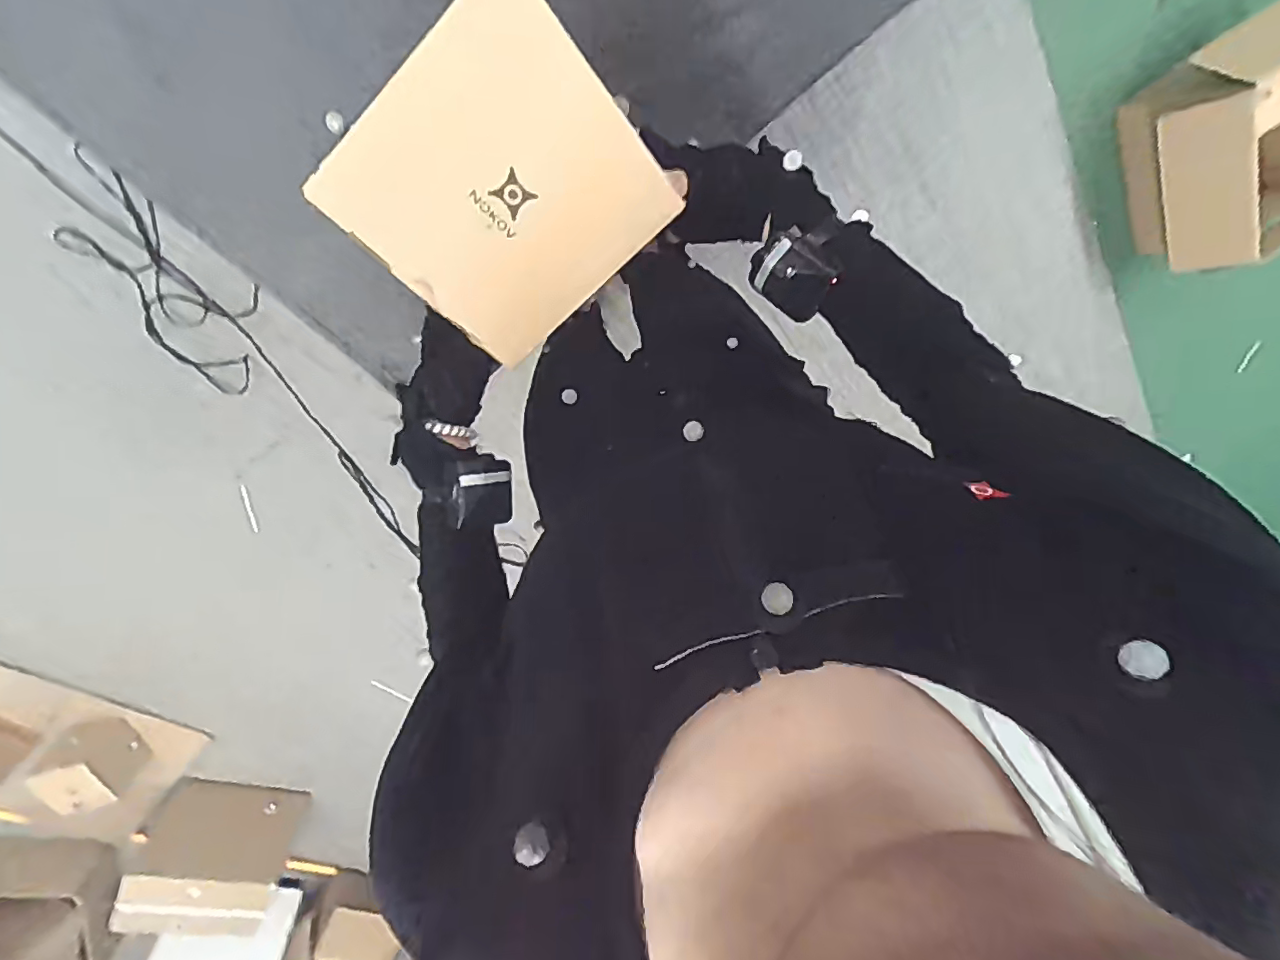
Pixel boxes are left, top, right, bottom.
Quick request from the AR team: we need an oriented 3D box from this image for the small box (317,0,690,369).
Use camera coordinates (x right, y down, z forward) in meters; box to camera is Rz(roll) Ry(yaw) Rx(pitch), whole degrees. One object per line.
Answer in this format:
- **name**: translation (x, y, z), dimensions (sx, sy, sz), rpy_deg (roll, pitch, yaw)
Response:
- **small box**: translation (-0.095, -0.225, 0.403), dimensions (0.179, 0.176, 0.168), rpy_deg (-37, 127, 14)
